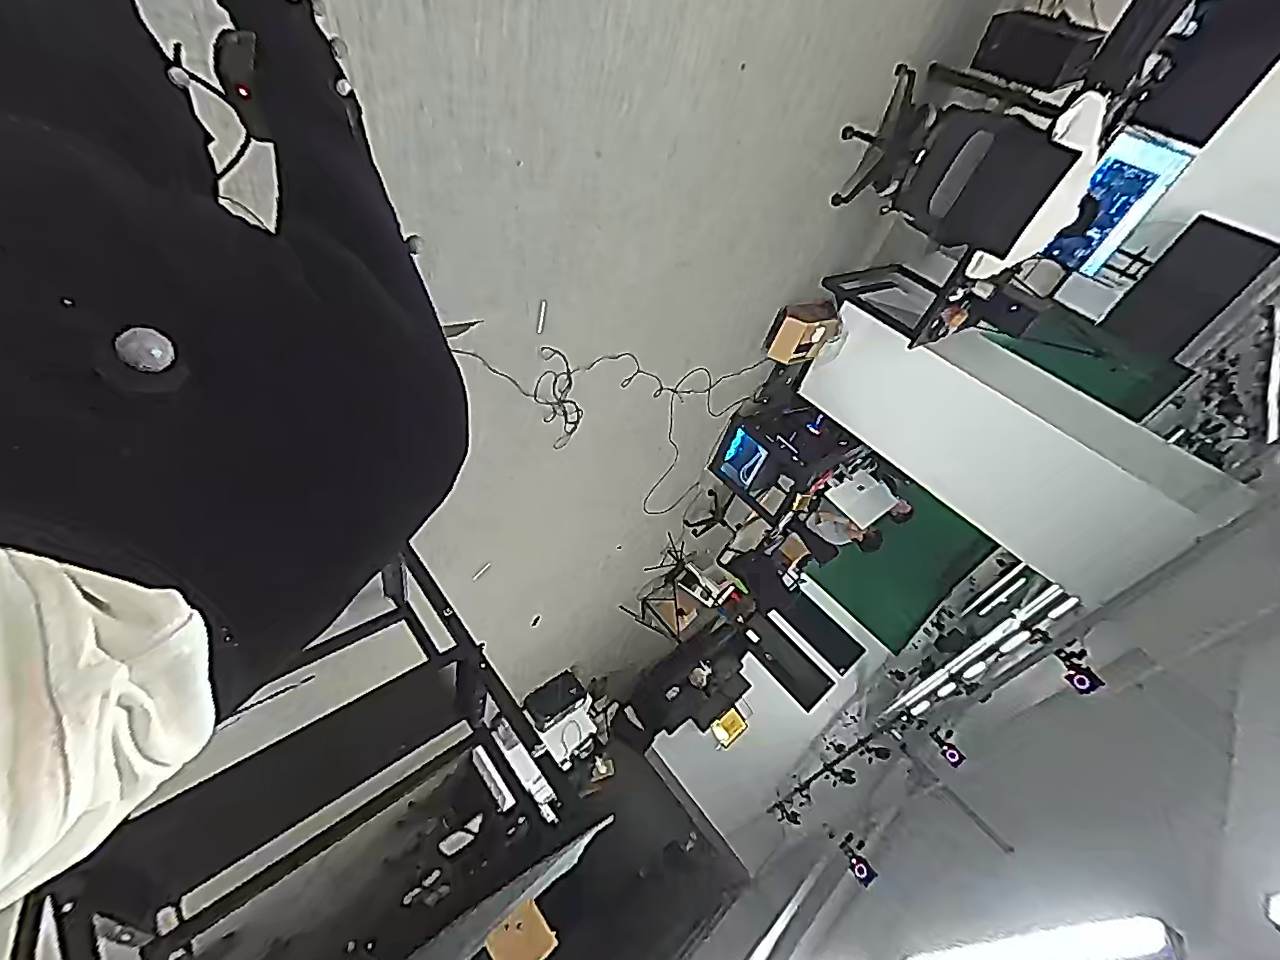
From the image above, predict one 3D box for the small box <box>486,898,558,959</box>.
[{"bbox_3d":[-0.392,1.520,1.773,0.168,0.176,0.179,-25,147,-36],"label":"small box"}]
